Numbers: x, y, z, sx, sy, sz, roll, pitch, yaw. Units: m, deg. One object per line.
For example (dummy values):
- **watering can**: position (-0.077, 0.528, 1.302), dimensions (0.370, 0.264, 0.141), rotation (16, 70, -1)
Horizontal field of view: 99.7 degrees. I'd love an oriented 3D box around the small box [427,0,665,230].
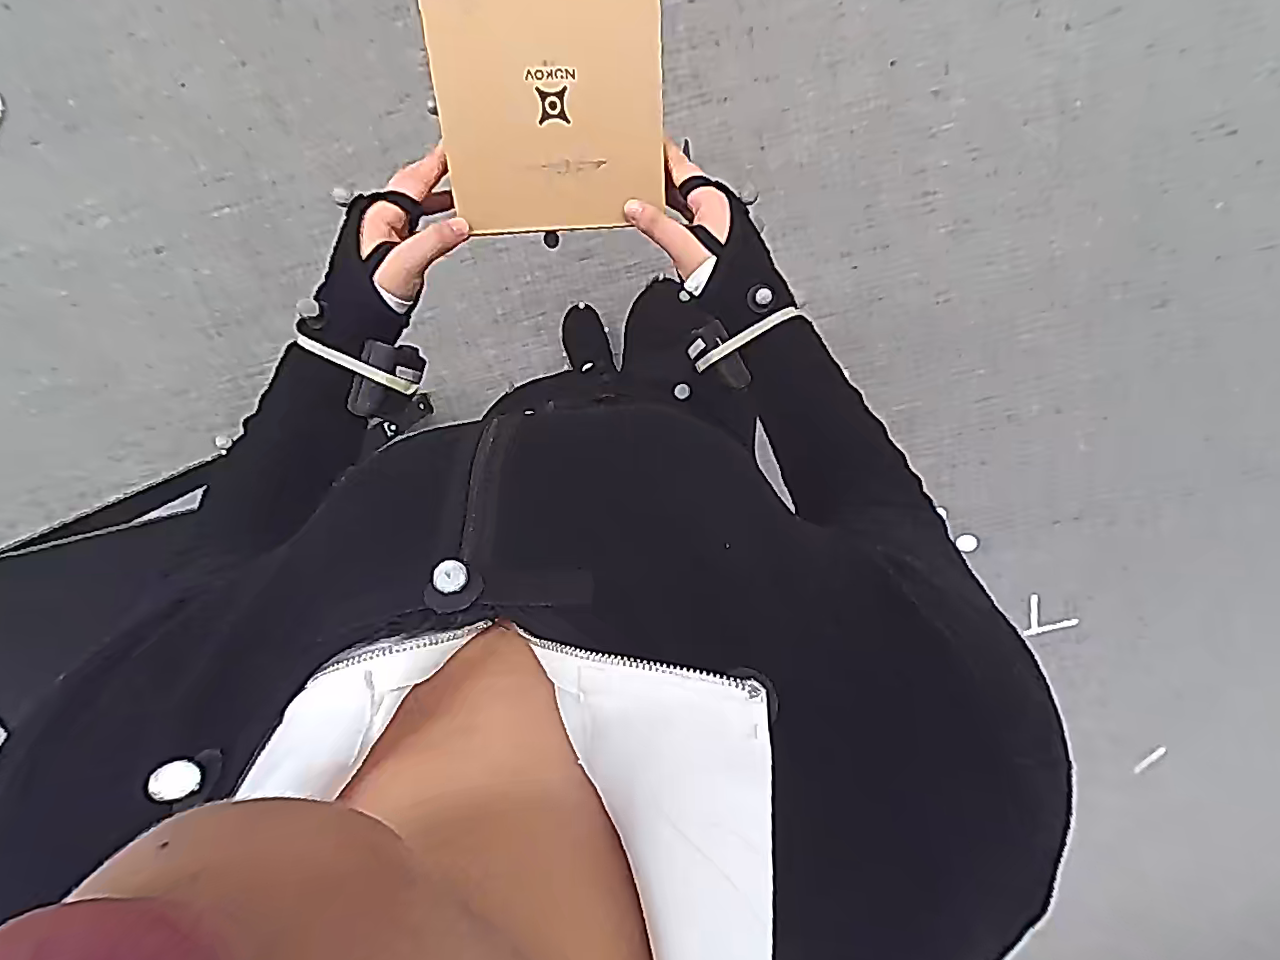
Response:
- **small box**: position (-0.075, -0.319, 0.474), dimensions (0.168, 0.176, 0.179), rotation (-6, 117, -6)
